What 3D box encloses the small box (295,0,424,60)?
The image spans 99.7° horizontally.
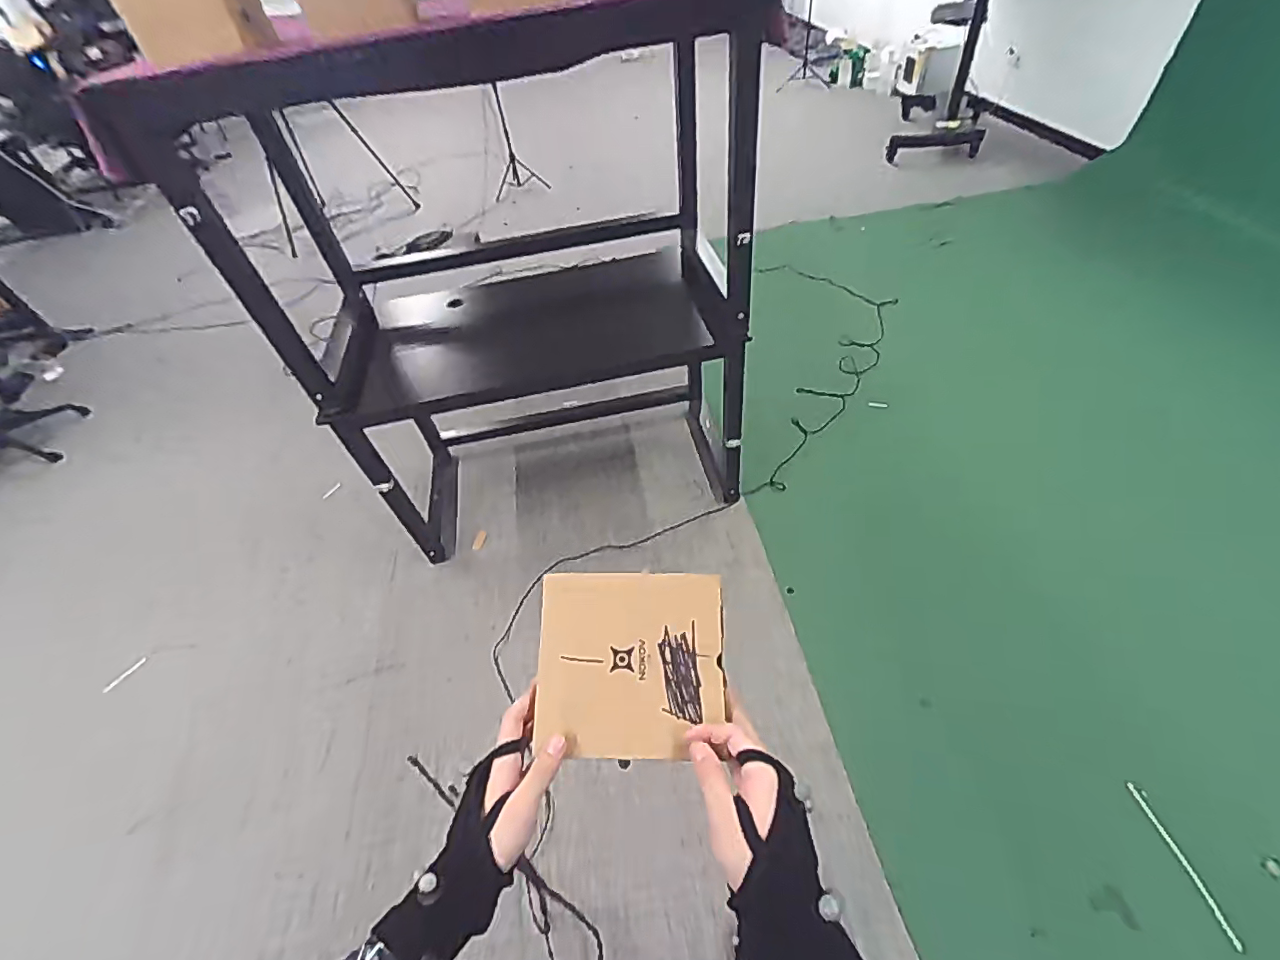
[{"bbox_3d":[-0.522,-0.889,0.983,0.179,0.176,0.168,-10,47,0],"label":"small box"}]

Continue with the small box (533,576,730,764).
[{"bbox_3d":[-0.005,0.200,0.579,0.179,0.176,0.168,-1,68,2],"label":"small box"}]

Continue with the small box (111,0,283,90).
[{"bbox_3d":[-0.797,-0.825,0.971,0.179,0.176,0.168,-10,47,-1],"label":"small box"}]
